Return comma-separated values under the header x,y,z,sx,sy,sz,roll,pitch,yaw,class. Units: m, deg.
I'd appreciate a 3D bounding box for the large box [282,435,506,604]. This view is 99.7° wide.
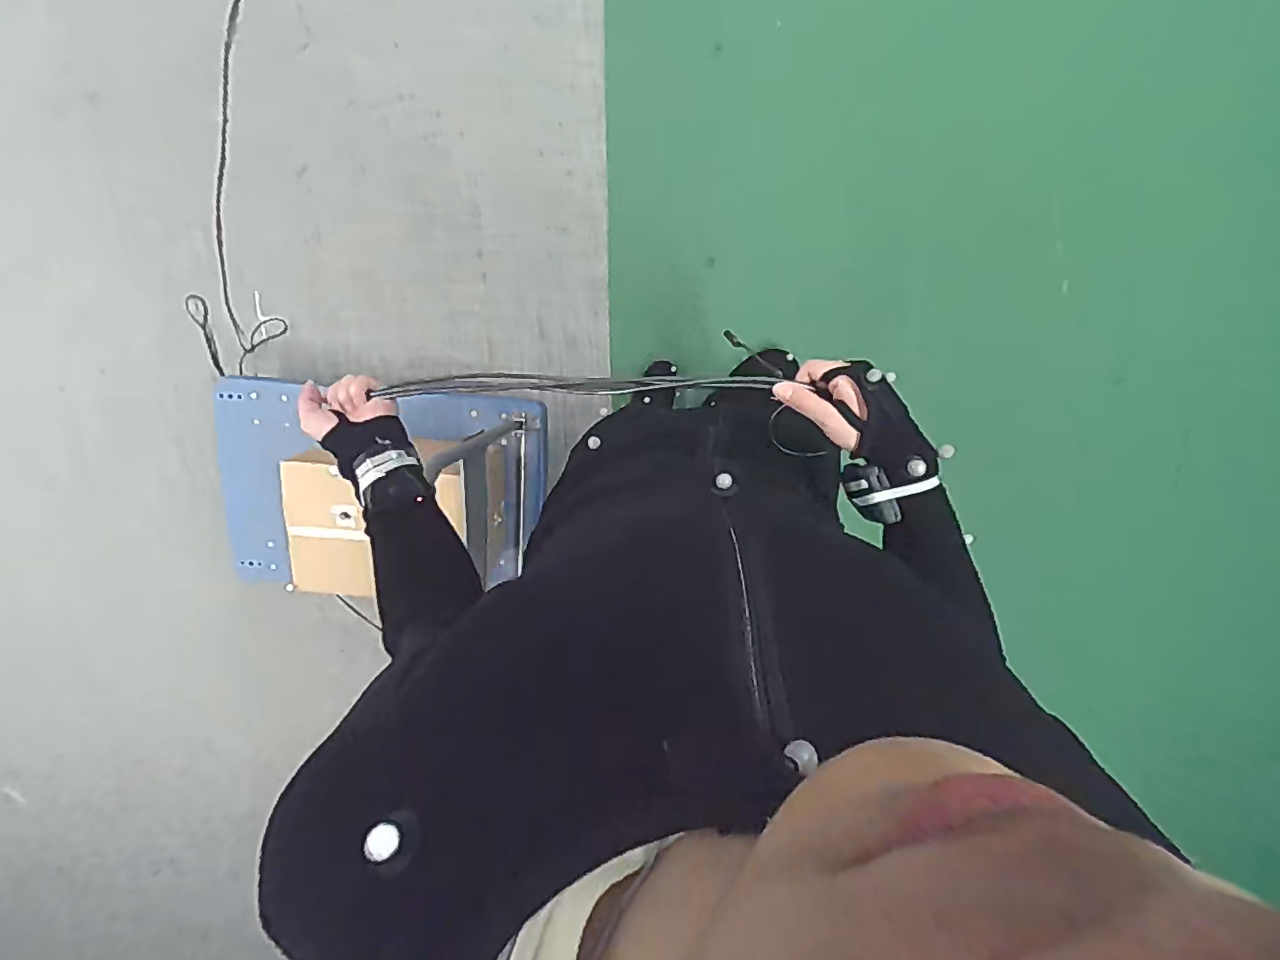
x,y,z,sx,sy,sz,roll,pitch,yaw,class
-0.566,0.079,1.325,0.408,0.320,0.320,5,105,1,large box
